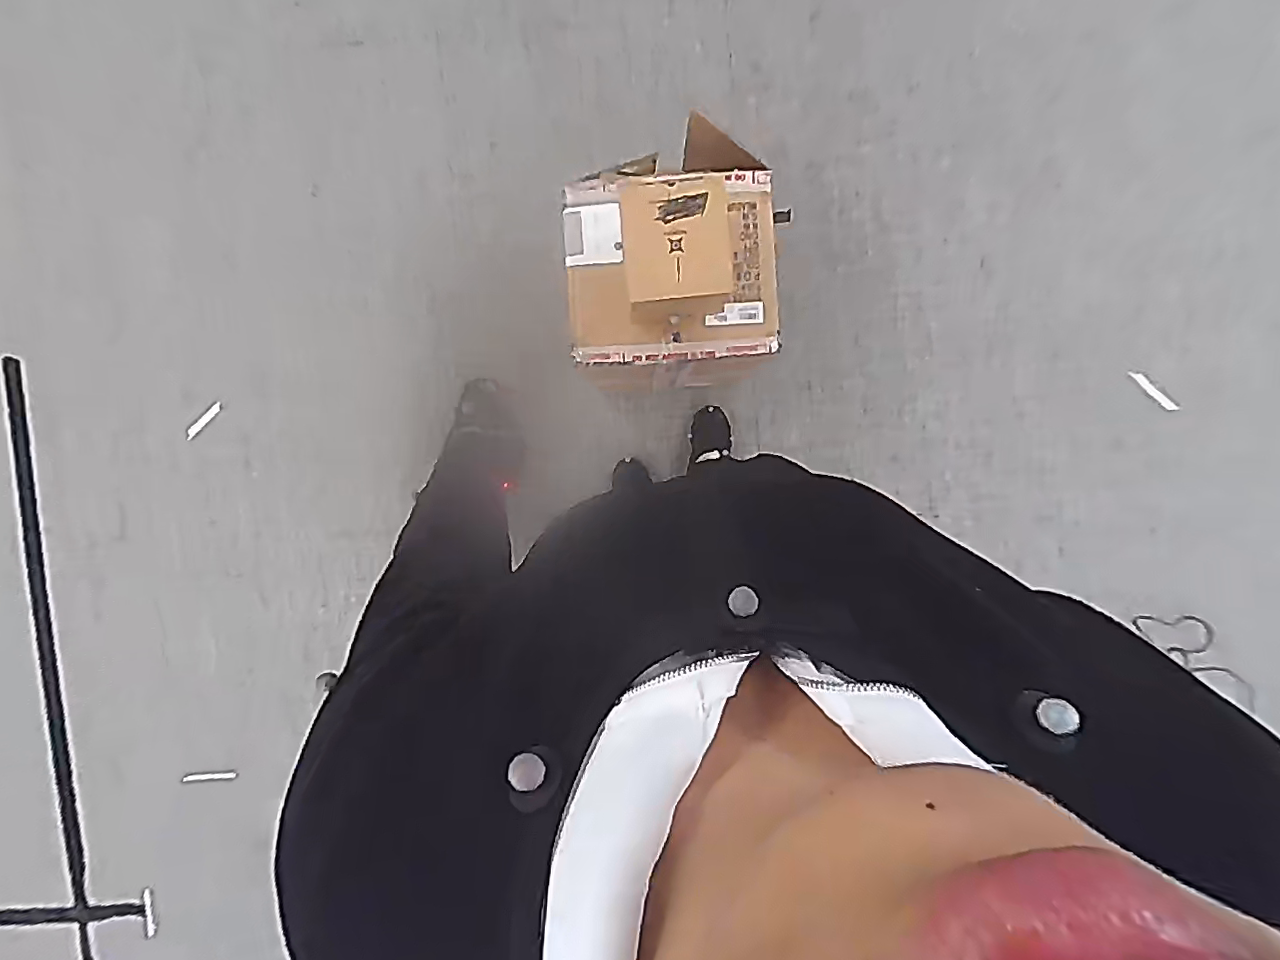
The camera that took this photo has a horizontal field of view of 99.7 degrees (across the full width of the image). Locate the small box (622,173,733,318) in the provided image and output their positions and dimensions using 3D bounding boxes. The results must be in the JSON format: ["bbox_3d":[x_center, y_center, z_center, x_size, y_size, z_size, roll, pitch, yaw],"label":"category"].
[{"bbox_3d":[0.057,-0.381,0.907,0.168,0.176,0.179,-5,96,1],"label":"small box"}]
